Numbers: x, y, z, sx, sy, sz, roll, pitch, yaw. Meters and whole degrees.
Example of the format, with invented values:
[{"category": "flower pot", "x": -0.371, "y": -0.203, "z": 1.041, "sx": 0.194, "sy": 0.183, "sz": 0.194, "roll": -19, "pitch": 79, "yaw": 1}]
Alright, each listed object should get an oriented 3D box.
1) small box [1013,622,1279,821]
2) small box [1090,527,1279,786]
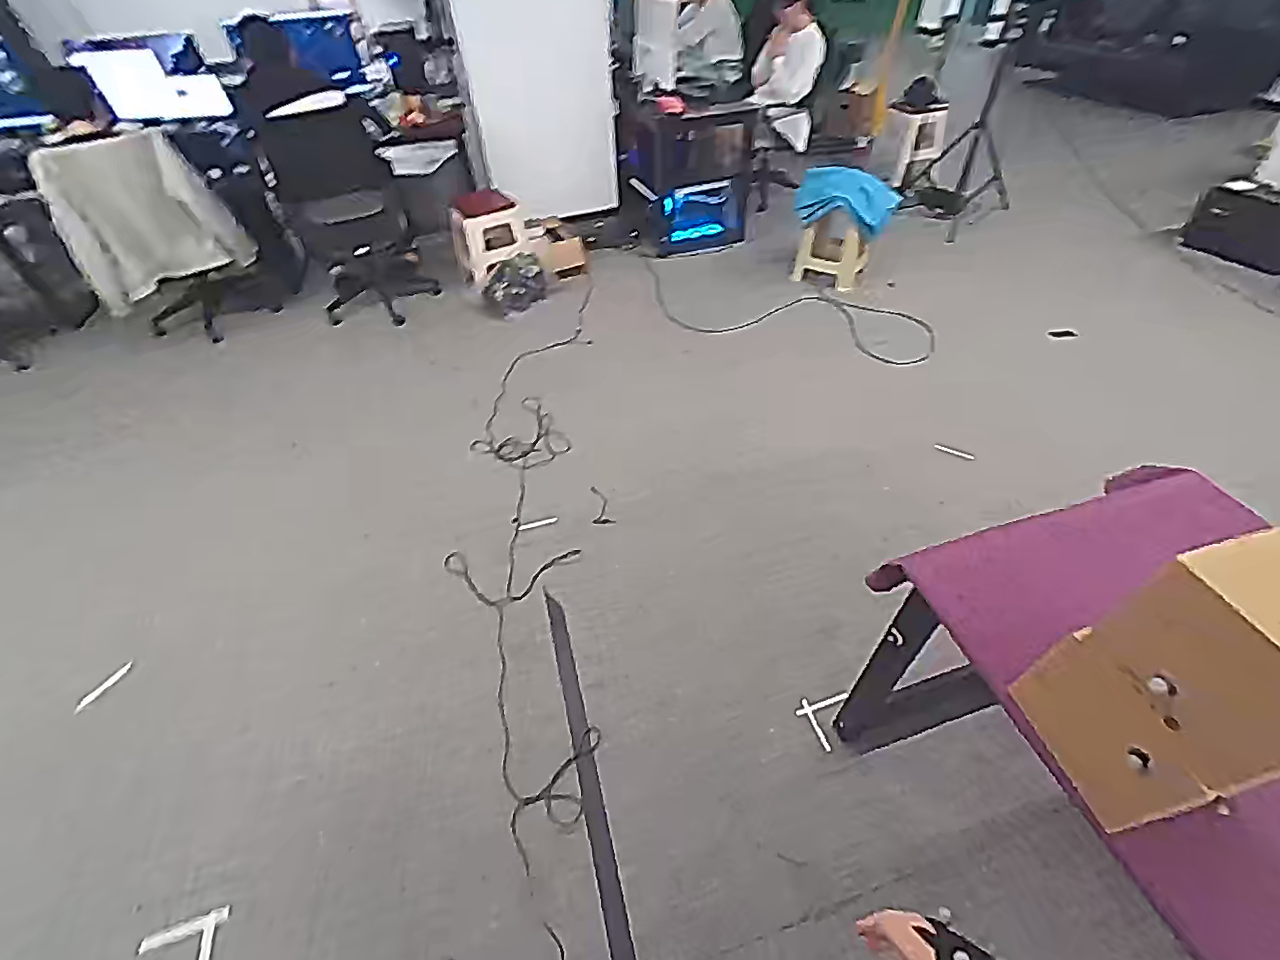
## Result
[{"category": "small box", "x": 0.595, "y": 0.274, "z": 0.631, "sx": 0.168, "sy": 0.176, "sz": 0.179, "roll": -11, "pitch": 47, "yaw": -7}, {"category": "small box", "x": 0.597, "y": 0.162, "z": 0.511, "sx": 0.179, "sy": 0.176, "sz": 0.168, "roll": -12, "pitch": 47, "yaw": -7}]
